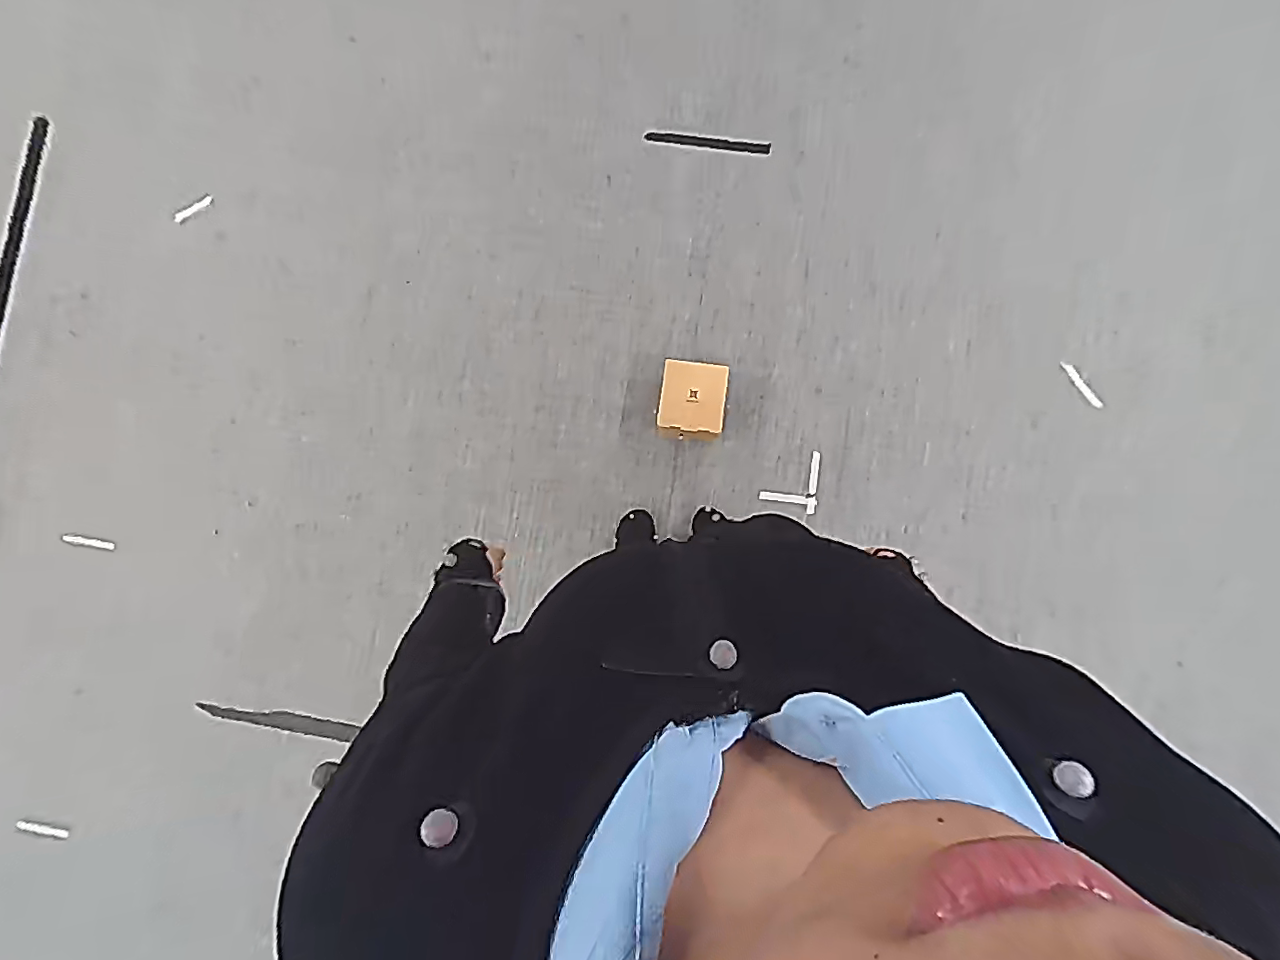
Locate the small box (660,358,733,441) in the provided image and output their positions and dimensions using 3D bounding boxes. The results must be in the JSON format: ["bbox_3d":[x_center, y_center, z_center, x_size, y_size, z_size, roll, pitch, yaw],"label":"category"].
[{"bbox_3d":[0.146,-0.209,1.445,0.168,0.176,0.179,7,88,2],"label":"small box"}]
